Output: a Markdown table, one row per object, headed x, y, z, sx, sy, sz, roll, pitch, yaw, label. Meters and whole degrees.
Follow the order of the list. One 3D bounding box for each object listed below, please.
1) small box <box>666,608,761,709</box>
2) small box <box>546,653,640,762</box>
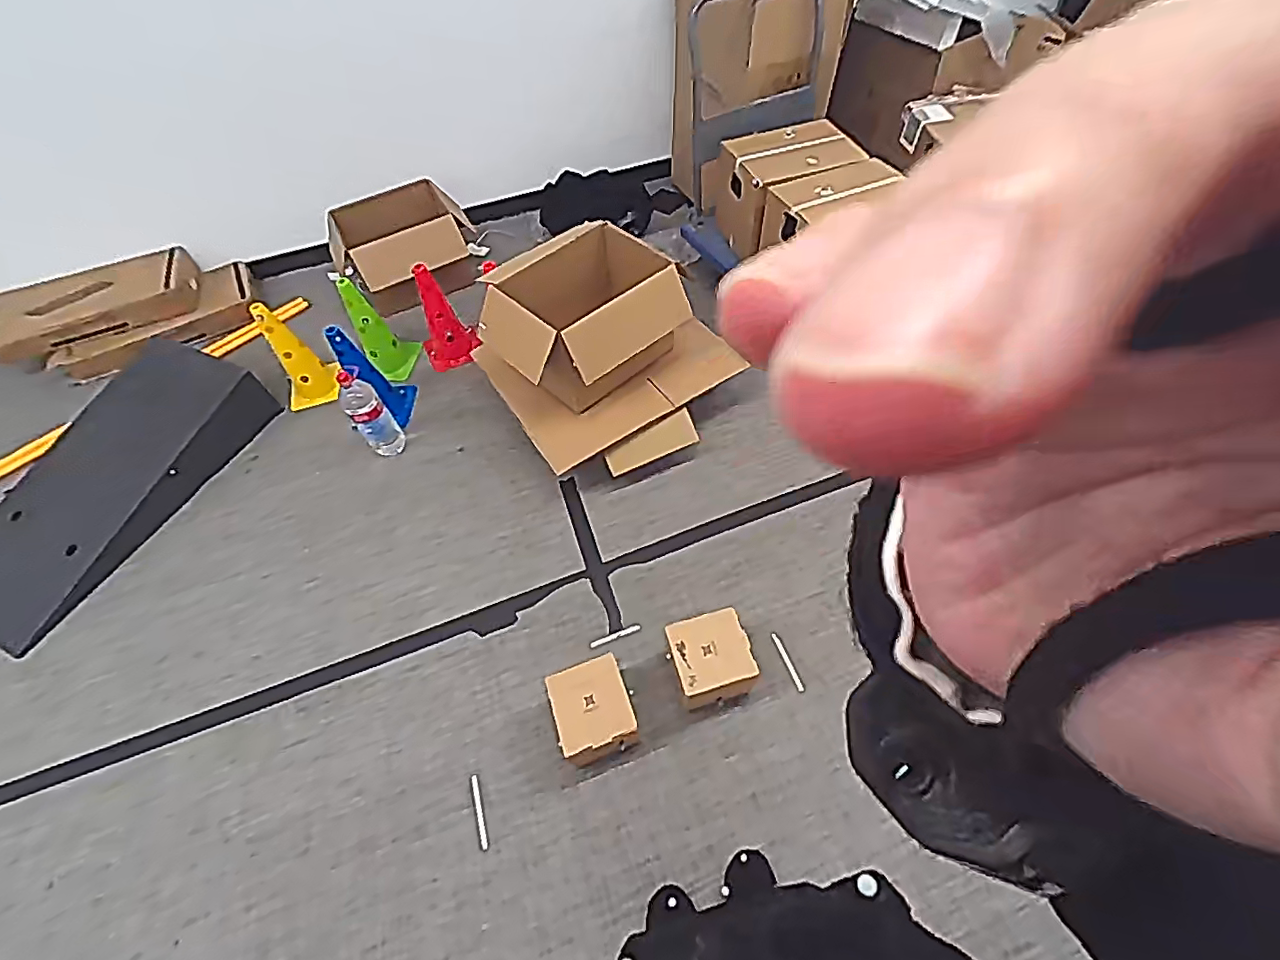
| x | y | z | sx | sy | sz | roll | pitch | yaw | label |
| --- | --- | --- | --- | --- | --- | --- | --- | --- | --- |
| 0.167 | 0.430 | 1.292 | 0.179 | 0.176 | 0.168 | -14 | 57 | -7 | small box |
| -0.103 | 0.529 | 1.242 | 0.168 | 0.176 | 0.179 | -18 | 56 | -10 | small box |
